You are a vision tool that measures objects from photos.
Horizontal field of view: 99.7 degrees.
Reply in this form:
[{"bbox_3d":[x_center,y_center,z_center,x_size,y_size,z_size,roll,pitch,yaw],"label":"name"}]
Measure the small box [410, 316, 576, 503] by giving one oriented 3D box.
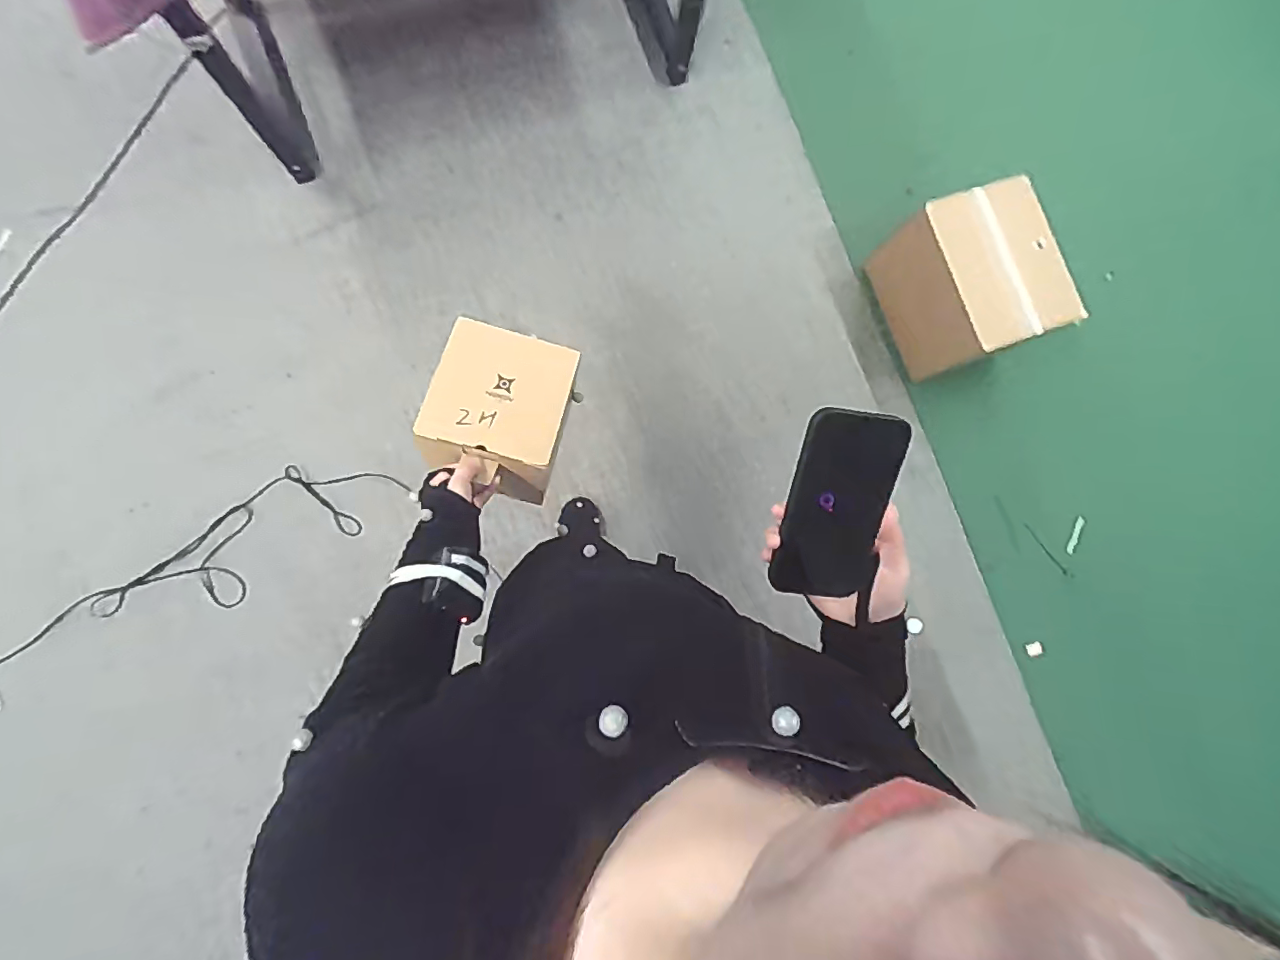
[{"bbox_3d":[-0.196,-0.088,0.753,0.168,0.176,0.179,15,69,-6],"label":"small box"}]
